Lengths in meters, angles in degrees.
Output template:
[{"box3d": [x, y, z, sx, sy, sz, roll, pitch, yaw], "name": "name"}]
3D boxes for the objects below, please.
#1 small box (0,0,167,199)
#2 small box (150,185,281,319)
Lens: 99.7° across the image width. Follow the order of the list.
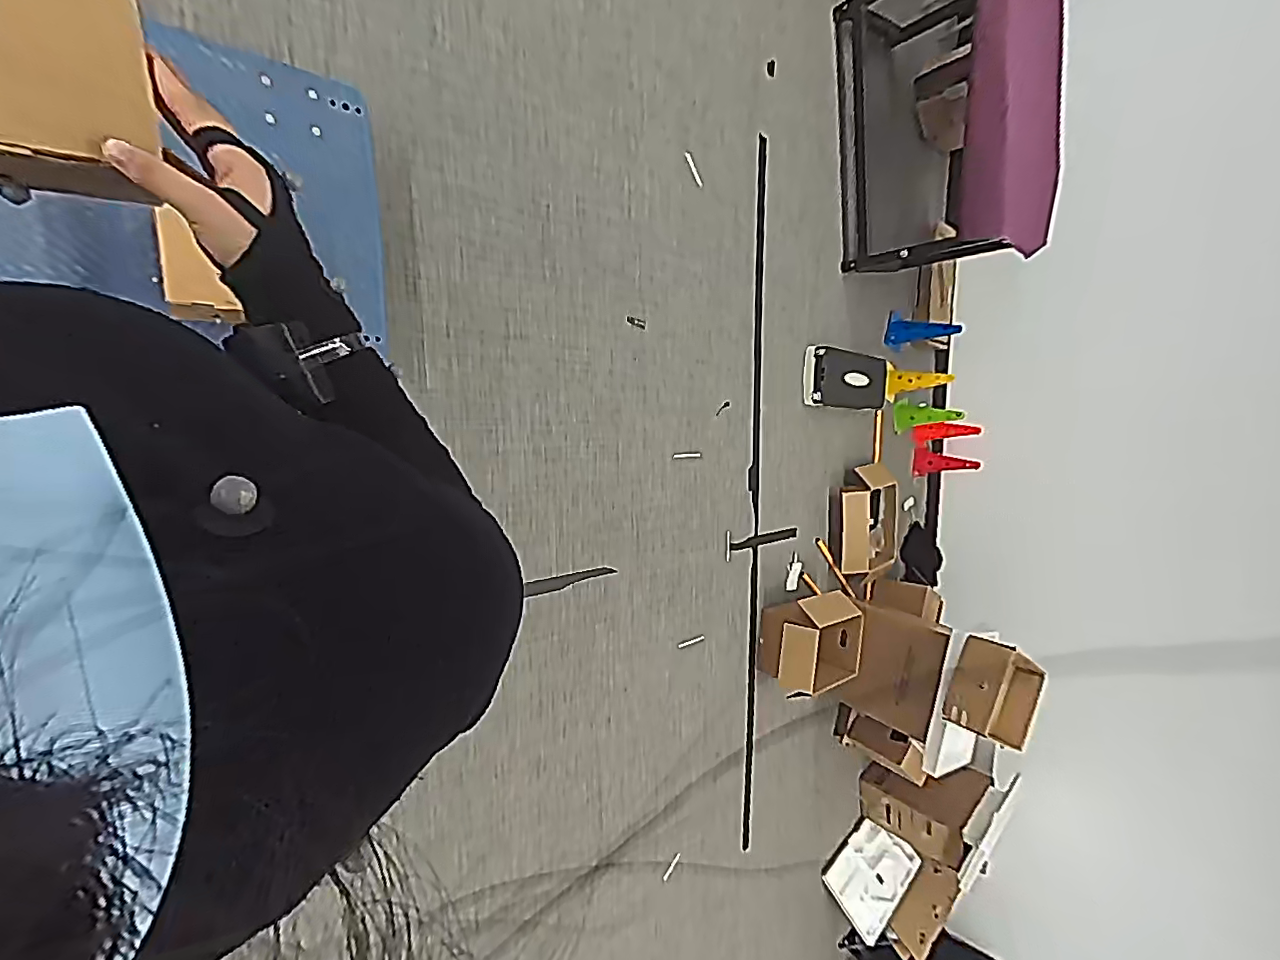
[{"box3d": [-0.411, -0.290, 0.327, 0.168, 0.176, 0.179, -10, 111, -39], "name": "small box"}, {"box3d": [-0.758, -0.394, 0.965, 0.168, 0.176, 0.179, -8, 101, -40], "name": "small box"}]
